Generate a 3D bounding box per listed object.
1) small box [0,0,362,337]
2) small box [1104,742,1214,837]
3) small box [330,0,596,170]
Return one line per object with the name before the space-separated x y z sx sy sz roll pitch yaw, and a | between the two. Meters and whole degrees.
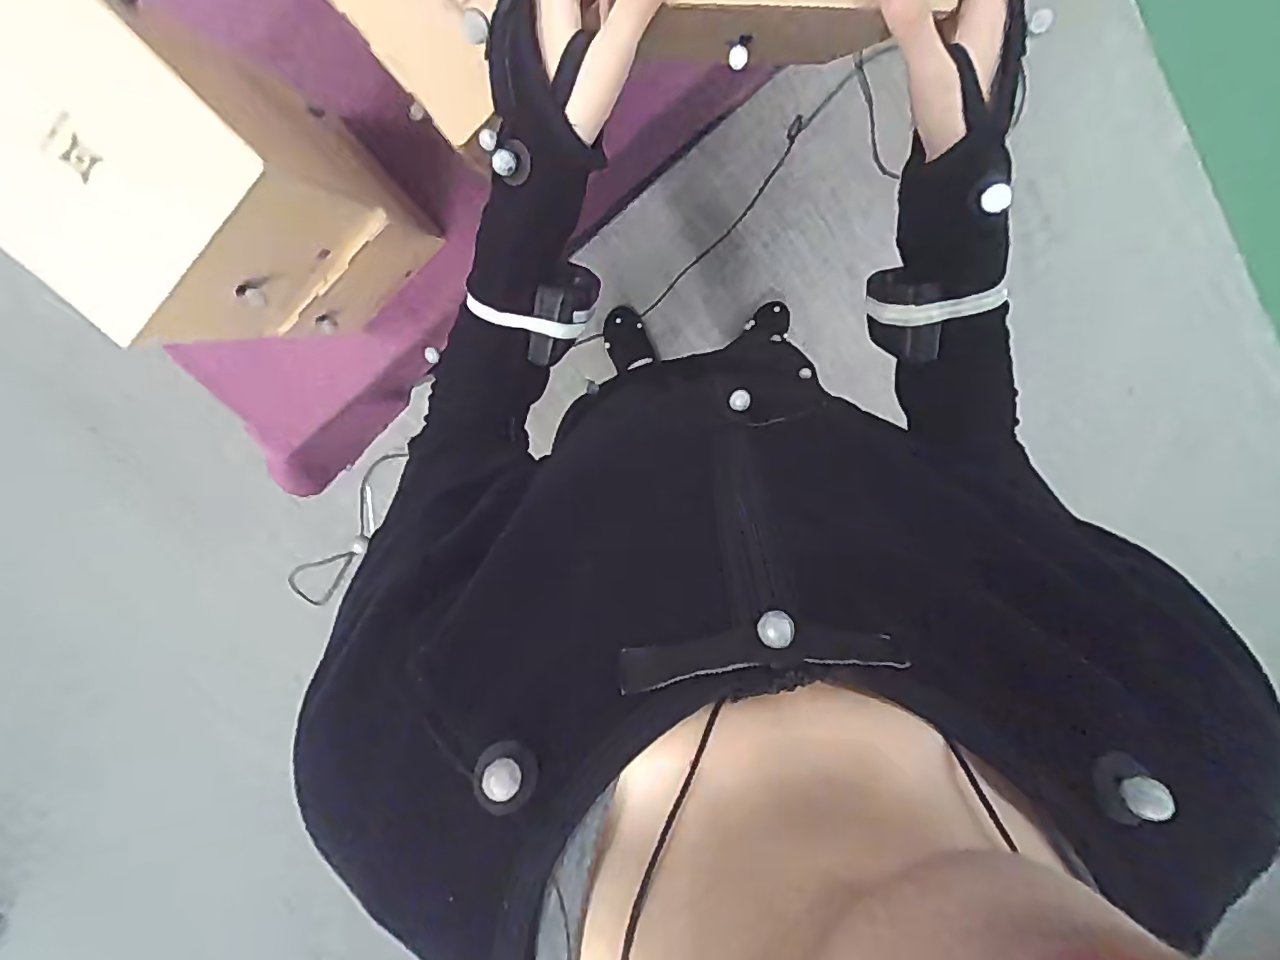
small box | -0.359 -0.234 0.411 0.168 0.176 0.179 -42 103 11
small box | 1.678 0.999 1.756 0.168 0.176 0.179 -37 104 9
small box | -0.156 -0.438 0.520 0.179 0.176 0.168 -39 105 11
